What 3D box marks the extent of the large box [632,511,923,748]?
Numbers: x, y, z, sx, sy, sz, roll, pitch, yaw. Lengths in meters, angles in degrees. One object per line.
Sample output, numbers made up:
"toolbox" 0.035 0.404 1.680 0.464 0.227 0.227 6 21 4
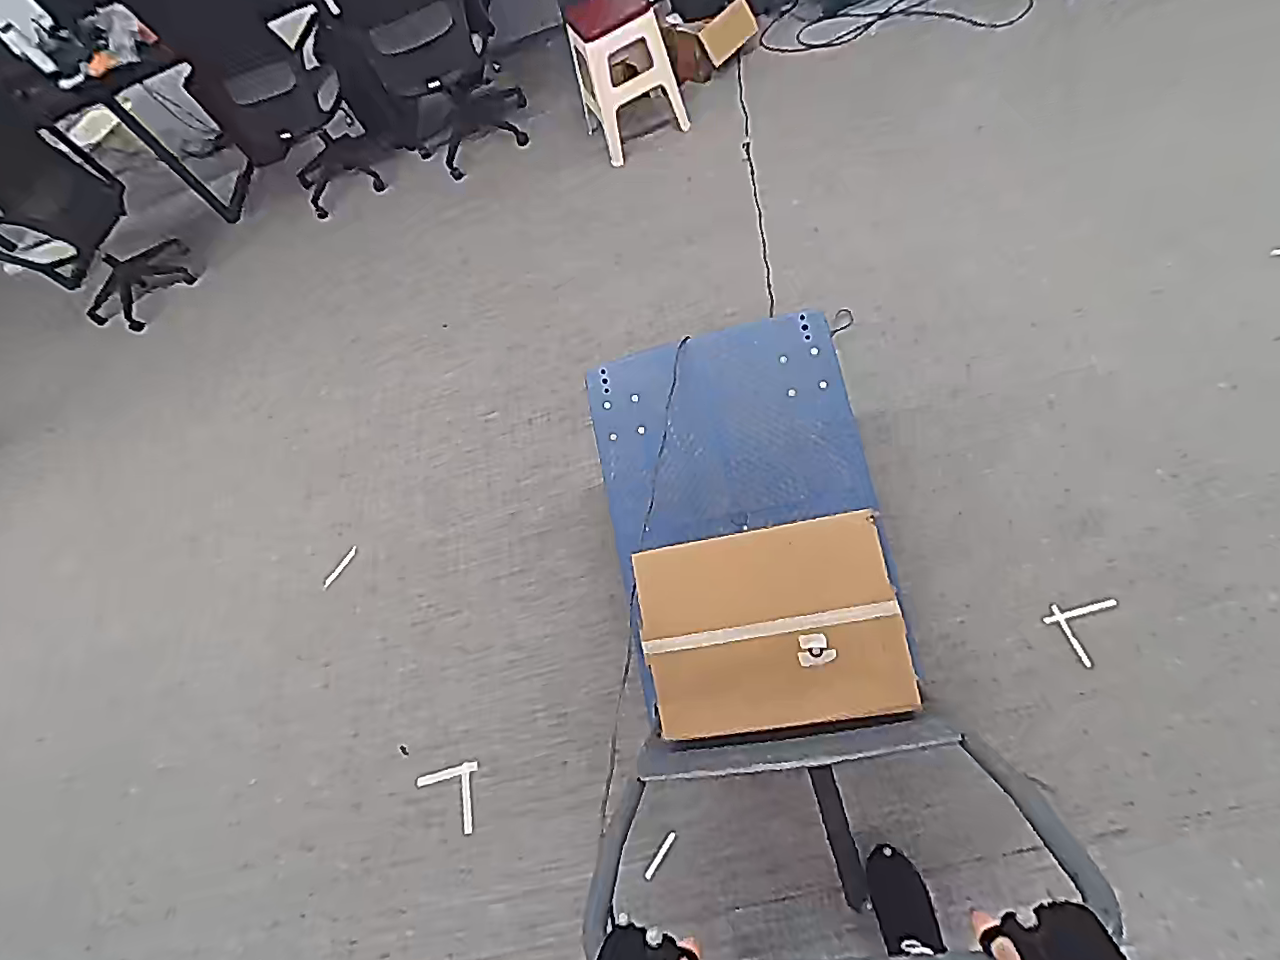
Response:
"large box" 0.232 0.259 1.004 0.408 0.320 0.320 -12 81 9
